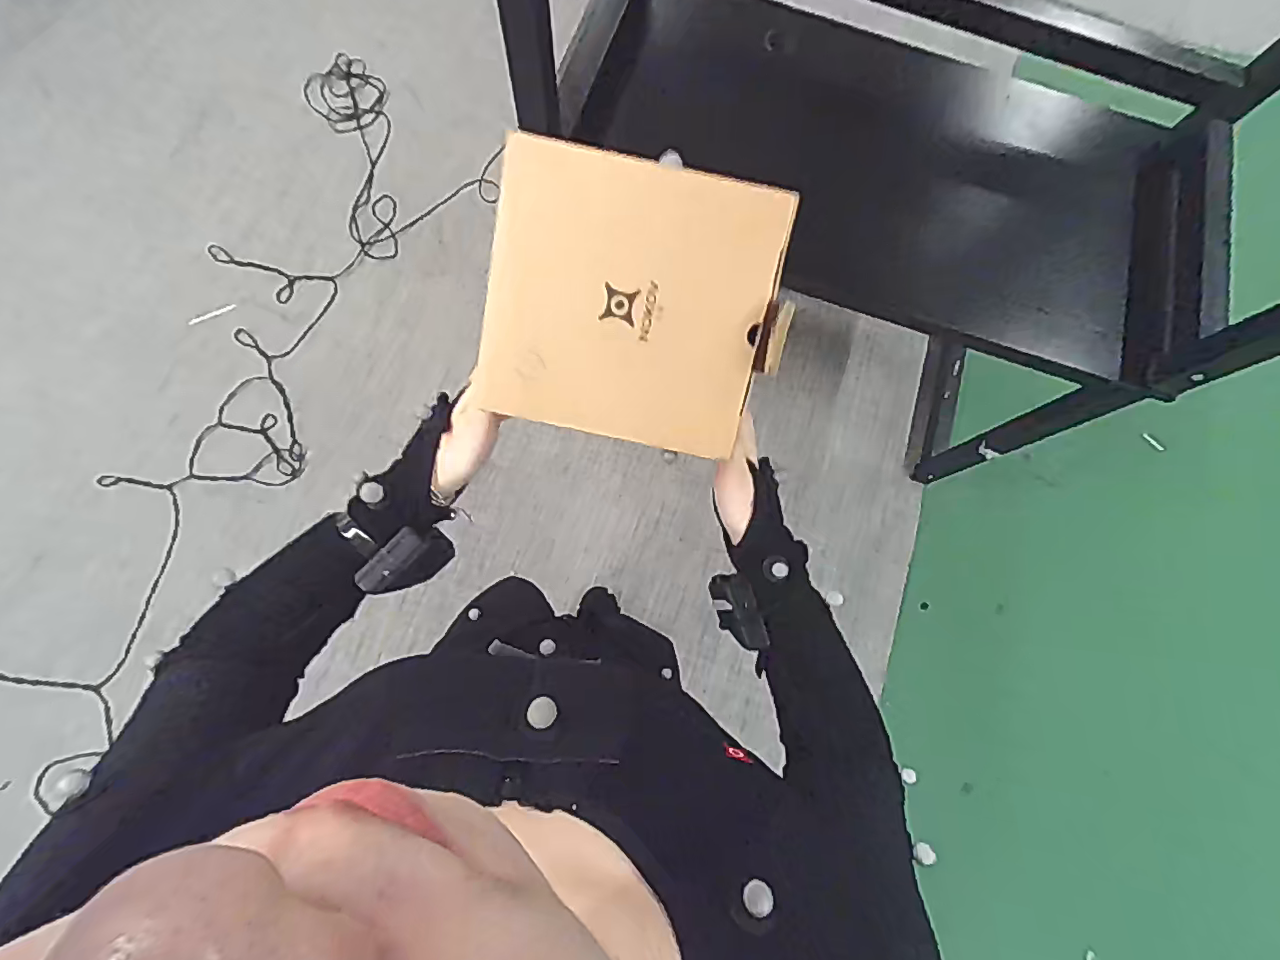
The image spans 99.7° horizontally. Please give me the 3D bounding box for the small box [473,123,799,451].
[{"bbox_3d":[-0.005,-0.132,0.409,0.179,0.176,0.168,11,105,-2],"label":"small box"}]
